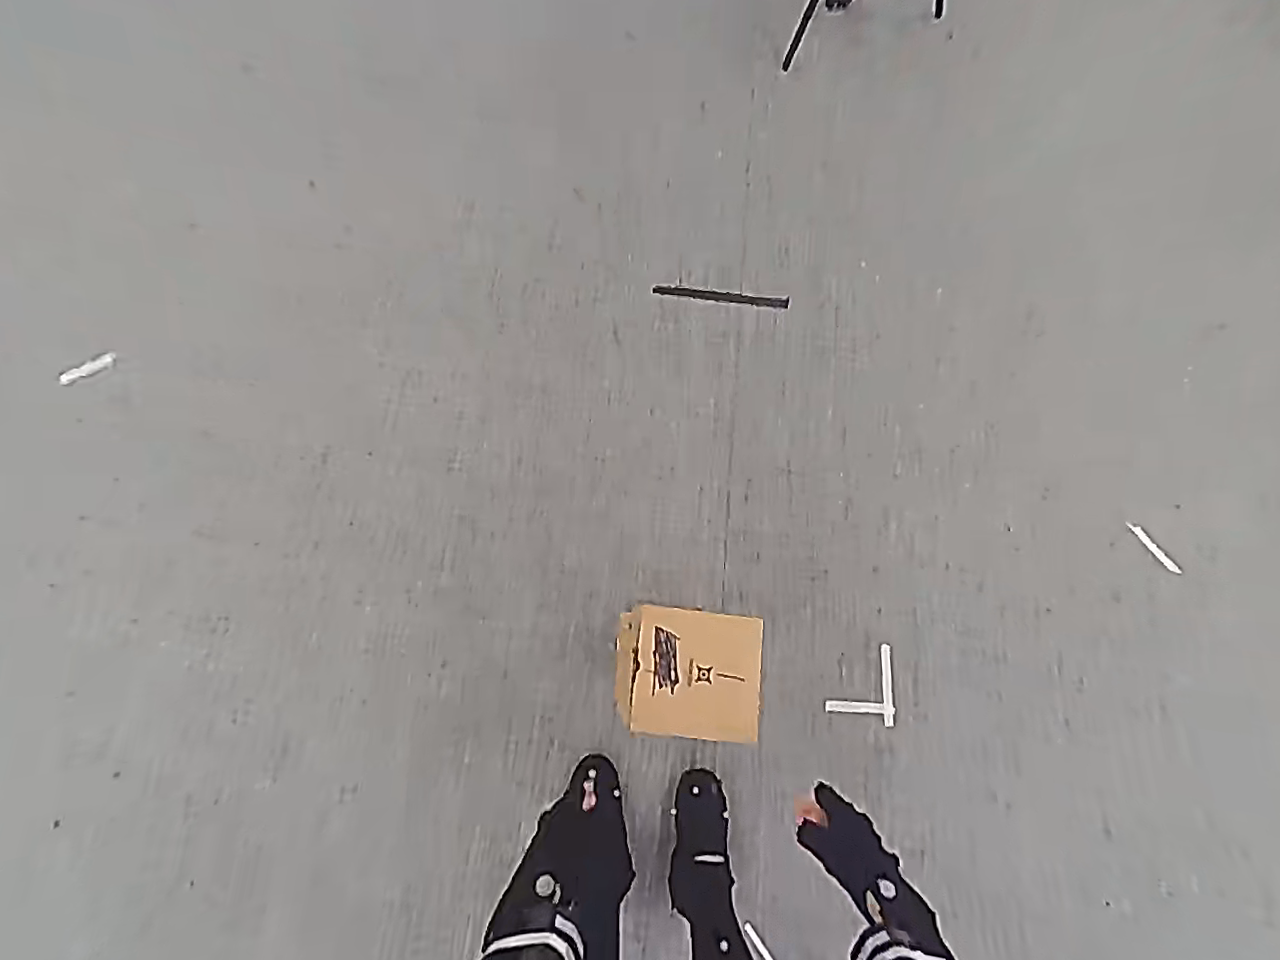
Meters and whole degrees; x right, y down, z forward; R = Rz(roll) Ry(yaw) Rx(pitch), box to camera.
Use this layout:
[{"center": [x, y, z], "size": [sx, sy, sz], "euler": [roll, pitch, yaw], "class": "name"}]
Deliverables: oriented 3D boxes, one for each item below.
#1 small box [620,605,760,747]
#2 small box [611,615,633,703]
[{"center": [0.066, 0.284, 0.808], "size": [0.179, 0.176, 0.168], "euler": [8, 75, -3], "class": "small box"}, {"center": [0.033, 0.370, 1.124], "size": [0.179, 0.176, 0.168], "euler": [4, 74, -3], "class": "small box"}]
